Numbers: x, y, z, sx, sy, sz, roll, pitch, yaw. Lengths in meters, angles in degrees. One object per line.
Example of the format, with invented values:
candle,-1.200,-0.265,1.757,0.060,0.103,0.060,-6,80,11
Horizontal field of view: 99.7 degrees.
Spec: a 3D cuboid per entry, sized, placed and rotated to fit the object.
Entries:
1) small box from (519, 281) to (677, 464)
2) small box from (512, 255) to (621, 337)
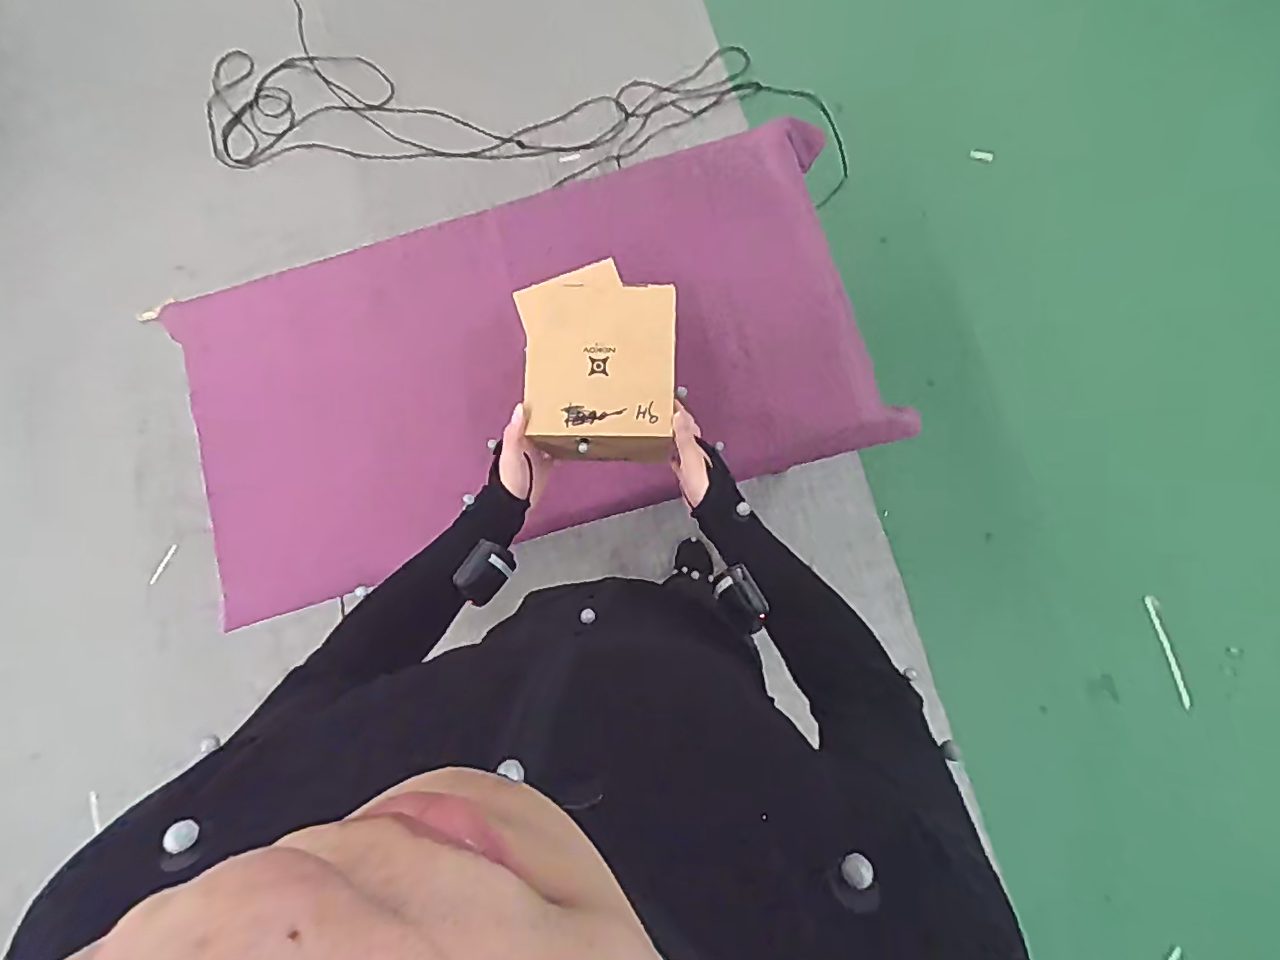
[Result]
small box,-0.041,-0.122,0.663,0.168,0.176,0.179,1,82,3
small box,-0.090,-0.226,0.889,0.168,0.176,0.179,-20,82,1
